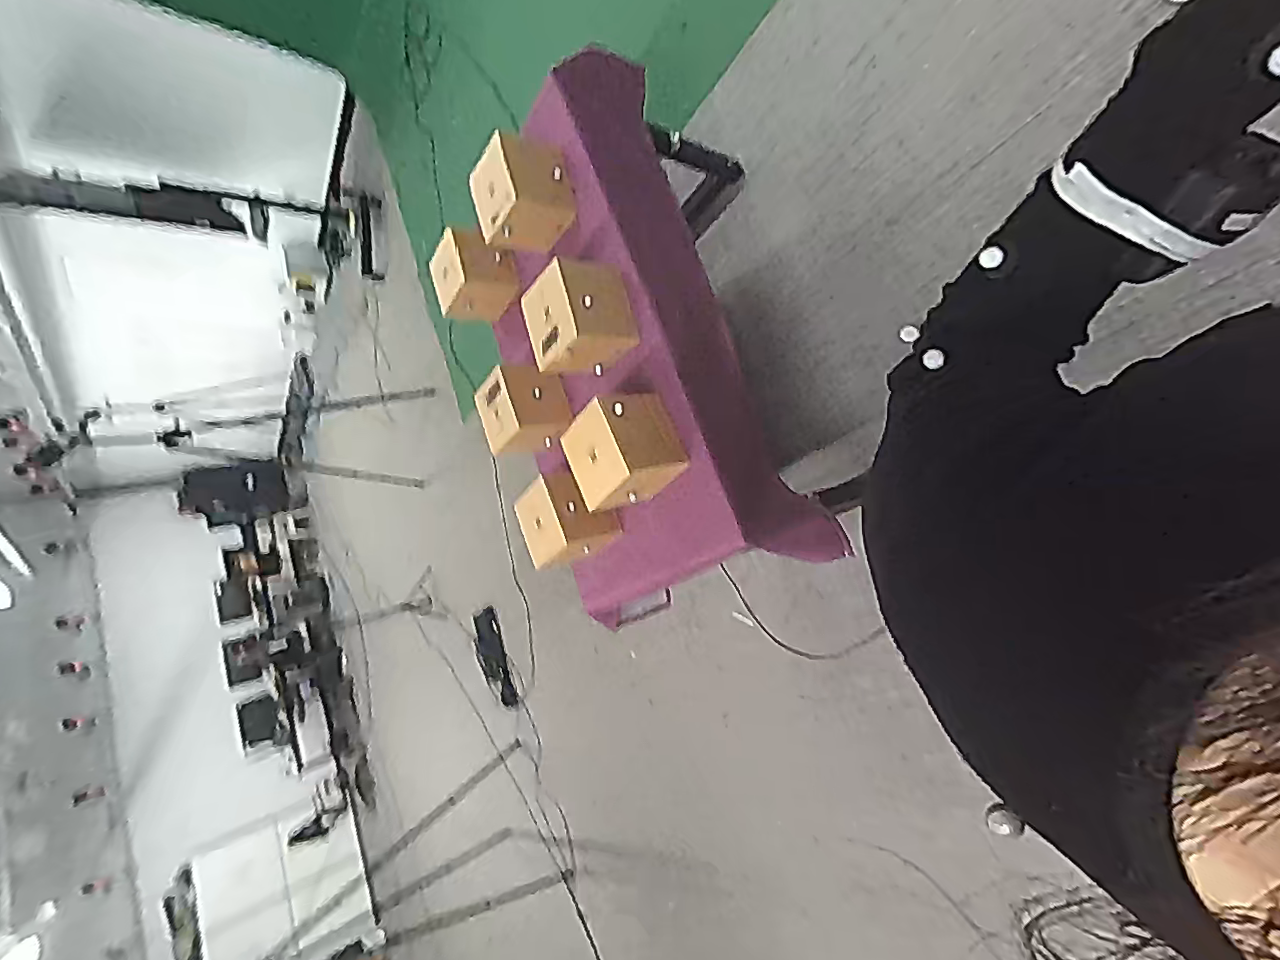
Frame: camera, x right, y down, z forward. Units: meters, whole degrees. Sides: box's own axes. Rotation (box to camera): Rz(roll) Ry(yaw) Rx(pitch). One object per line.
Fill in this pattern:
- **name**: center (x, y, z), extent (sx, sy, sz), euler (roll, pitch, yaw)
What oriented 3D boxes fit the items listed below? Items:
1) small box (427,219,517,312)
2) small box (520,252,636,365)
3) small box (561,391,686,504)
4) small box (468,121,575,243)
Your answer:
- **small box**: center (-0.467, -0.587, 1.505), extent (0.179, 0.176, 0.168), euler (-28, 77, 46)
- **small box**: center (-0.132, -0.365, 1.177), extent (0.168, 0.176, 0.179), euler (-25, 78, 47)
- **small box**: center (-0.033, -0.072, 1.123), extent (0.168, 0.176, 0.179), euler (-41, 66, 44)
- **small box**: center (-0.278, -0.691, 1.277), extent (0.168, 0.176, 0.179), euler (-23, 80, 48)
